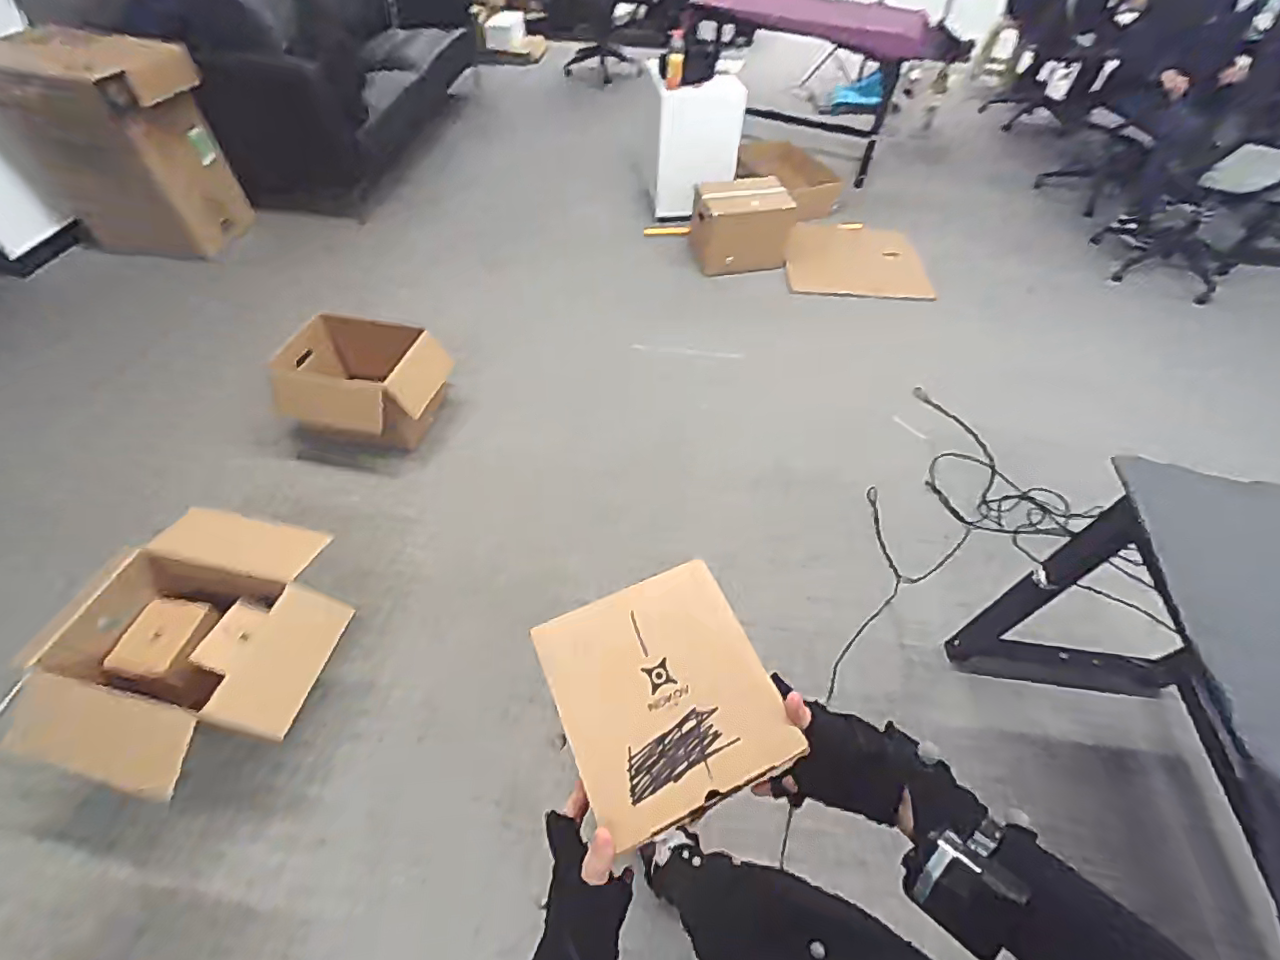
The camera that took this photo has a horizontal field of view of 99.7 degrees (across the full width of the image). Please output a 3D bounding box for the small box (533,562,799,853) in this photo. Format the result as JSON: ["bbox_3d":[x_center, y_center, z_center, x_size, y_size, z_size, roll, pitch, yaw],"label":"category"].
[{"bbox_3d":[0.015,0.210,0.502,0.168,0.176,0.179,-20,59,-14],"label":"small box"}]
